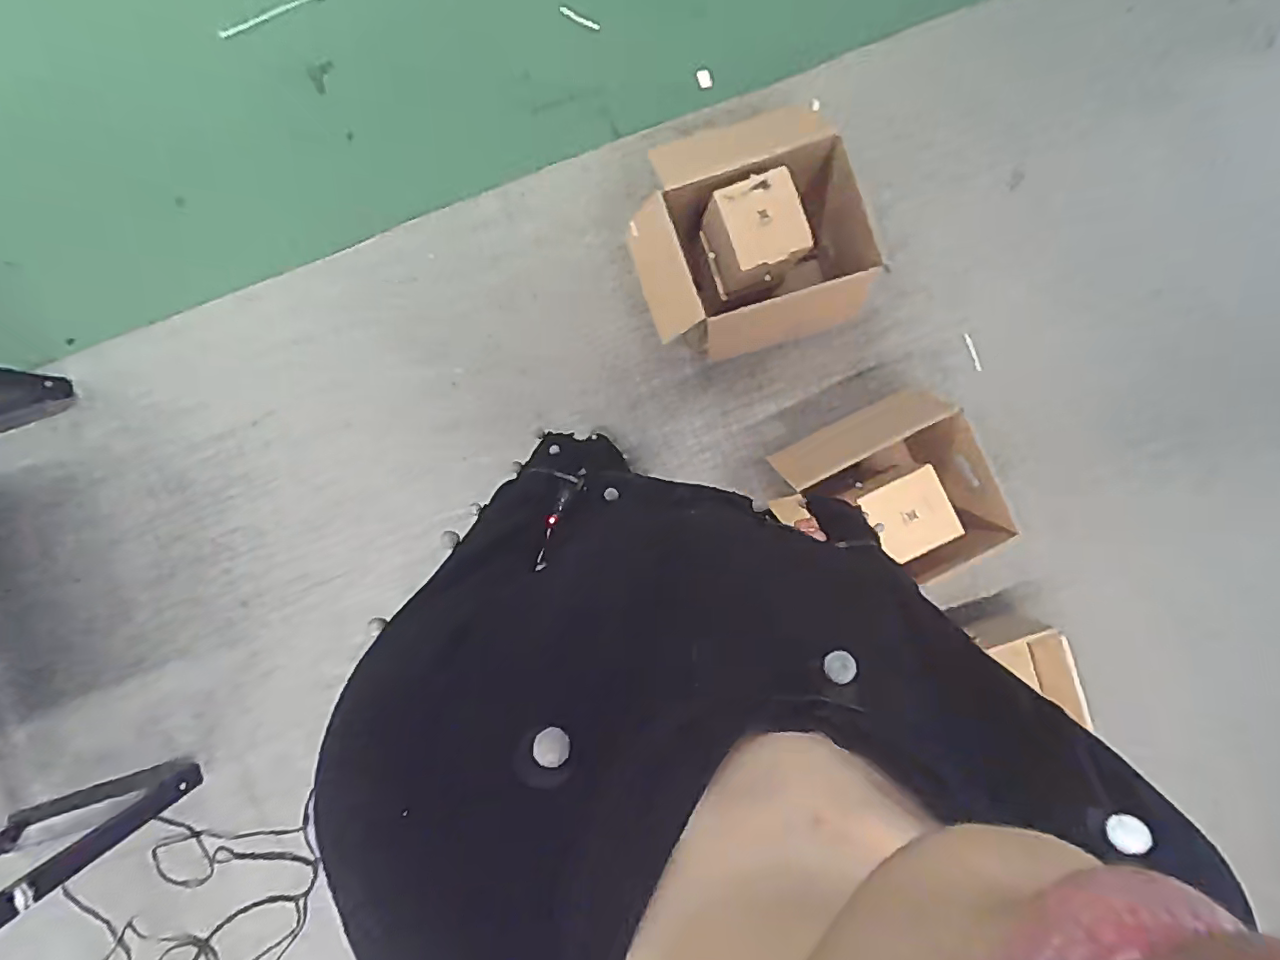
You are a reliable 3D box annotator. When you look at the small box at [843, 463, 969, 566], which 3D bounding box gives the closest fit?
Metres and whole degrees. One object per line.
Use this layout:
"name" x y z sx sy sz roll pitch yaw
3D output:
"small box" 0.576 0.072 1.205 0.179 0.176 0.168 -26 91 2
